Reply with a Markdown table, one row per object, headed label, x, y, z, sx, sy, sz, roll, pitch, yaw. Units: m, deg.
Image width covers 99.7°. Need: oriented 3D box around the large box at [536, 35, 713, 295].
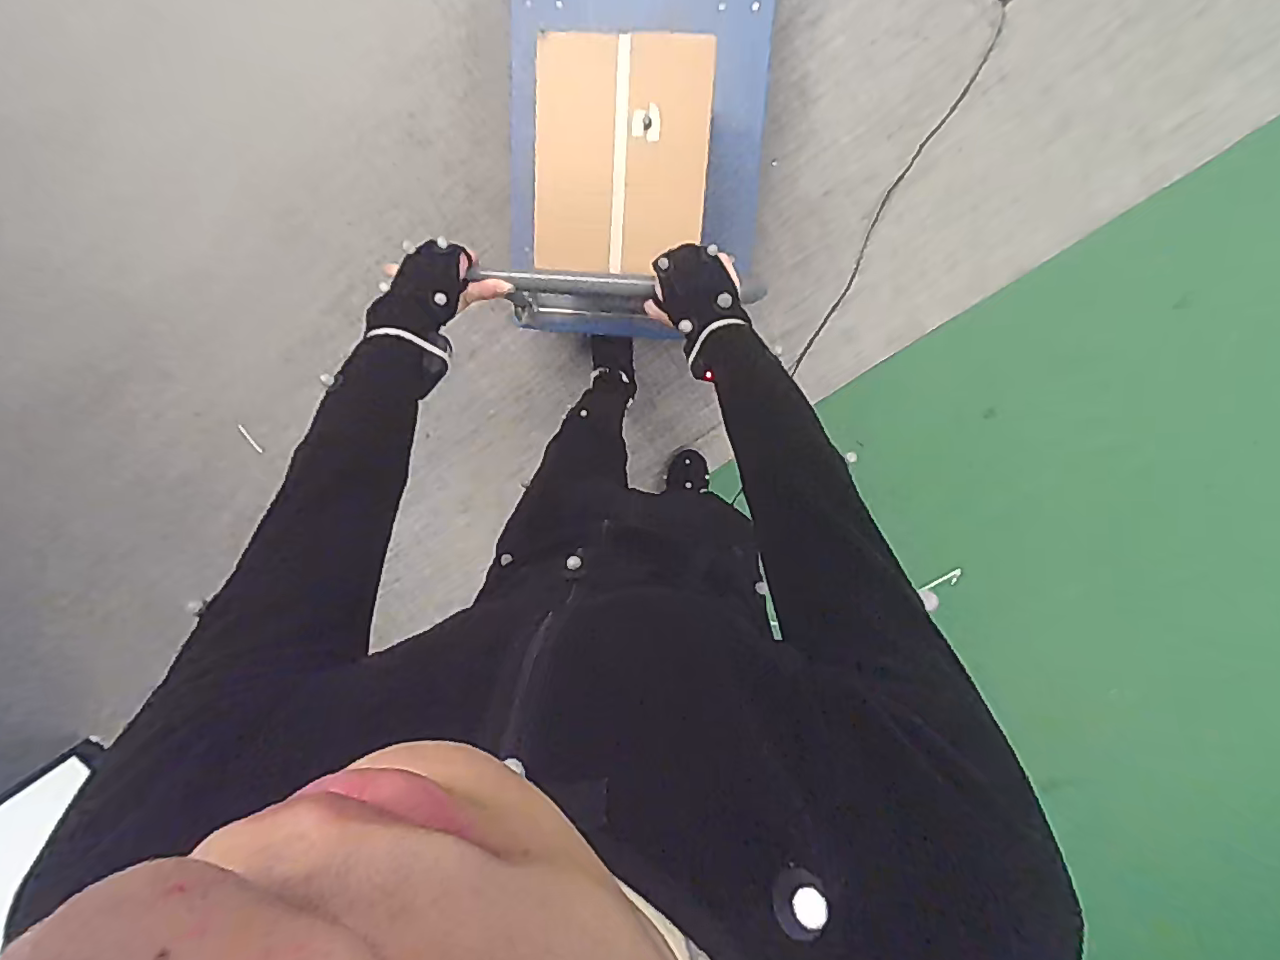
| label | x | y | z | sx | sy | sz | roll | pitch | yaw |
| --- | --- | --- | --- | --- | --- | --- | --- | --- | --- |
| large box | -0.022 | -0.614 | 1.133 | 0.320 | 0.320 | 0.408 | 5 | 104 | 4 |
